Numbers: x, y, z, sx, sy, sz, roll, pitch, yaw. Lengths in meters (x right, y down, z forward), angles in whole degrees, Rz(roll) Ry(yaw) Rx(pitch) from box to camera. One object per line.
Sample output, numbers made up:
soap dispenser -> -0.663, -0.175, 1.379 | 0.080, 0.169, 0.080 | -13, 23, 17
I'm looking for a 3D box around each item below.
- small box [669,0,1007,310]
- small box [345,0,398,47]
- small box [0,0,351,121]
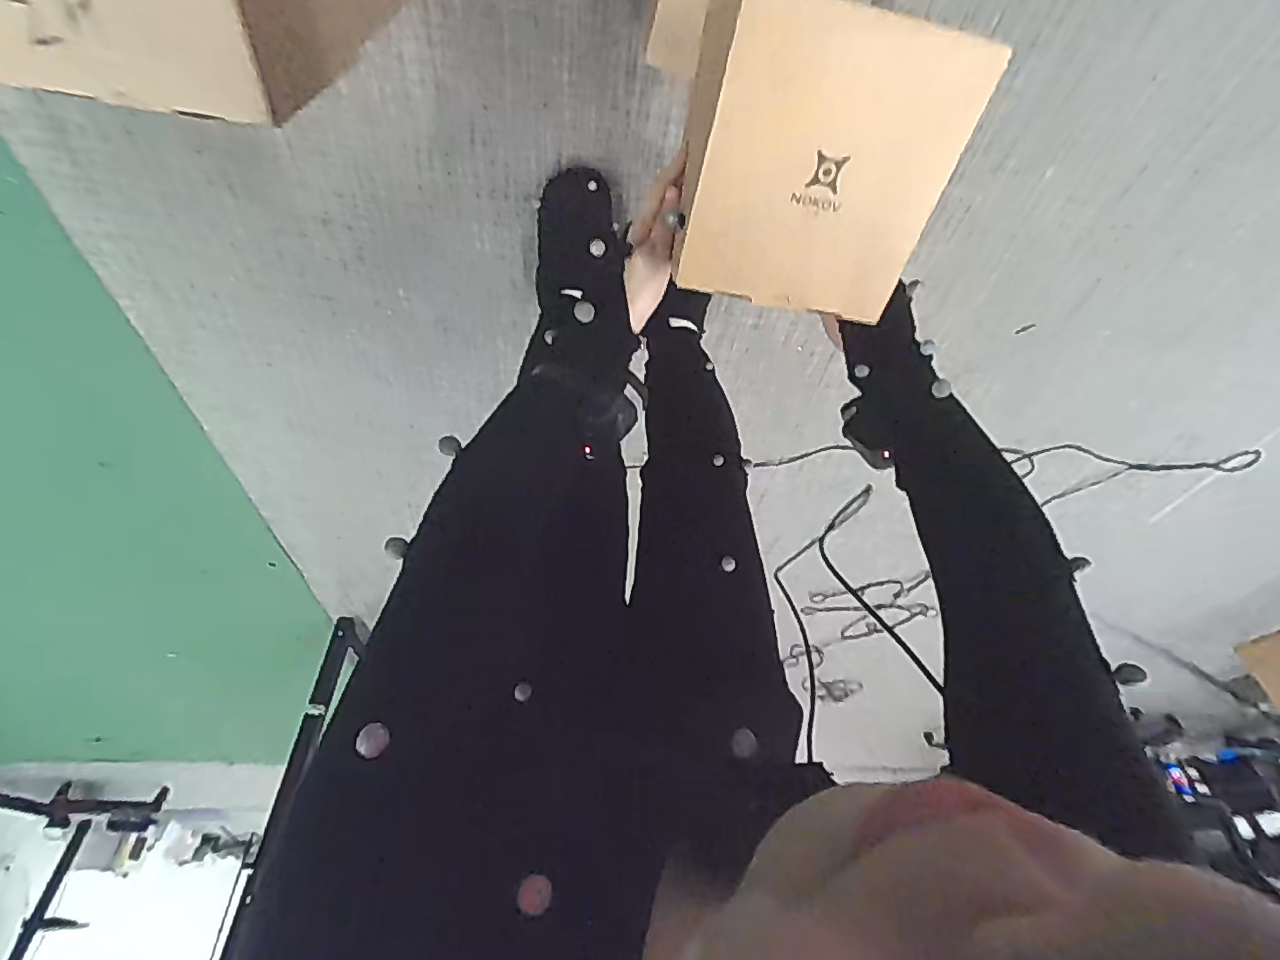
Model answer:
small box -> 0.119, -0.258, 0.417 | 0.168, 0.176, 0.179 | 7, 130, -7
small box -> -0.299, -0.474, 0.412 | 0.168, 0.176, 0.179 | 5, 141, -7
small box -> -0.294, -0.344, 0.310 | 0.168, 0.176, 0.179 | 6, 140, -7
